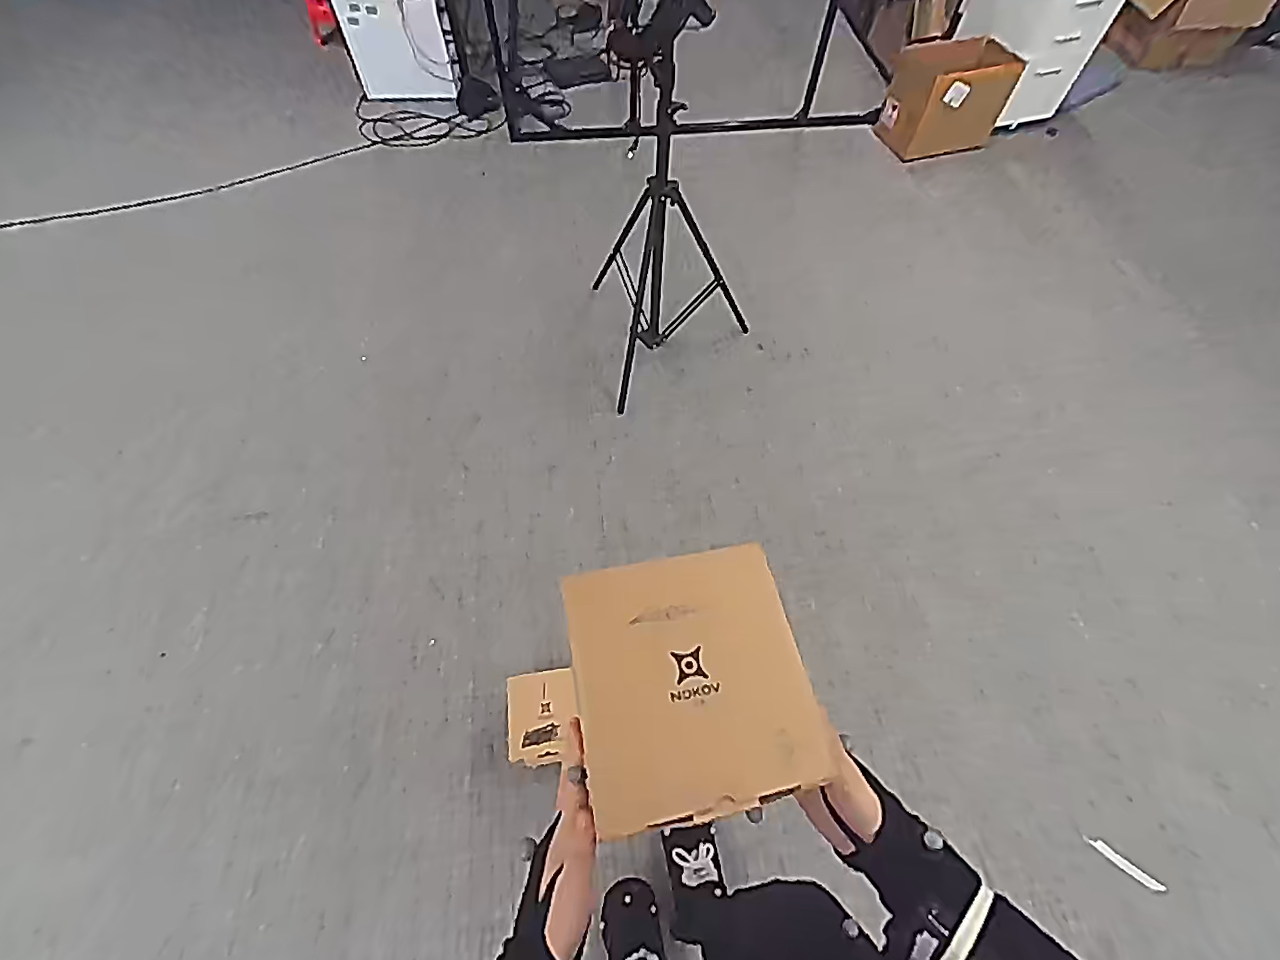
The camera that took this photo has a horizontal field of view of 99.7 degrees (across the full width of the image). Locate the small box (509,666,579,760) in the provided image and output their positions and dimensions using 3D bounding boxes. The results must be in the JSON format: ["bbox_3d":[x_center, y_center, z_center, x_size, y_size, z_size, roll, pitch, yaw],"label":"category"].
[{"bbox_3d":[-0.205,0.546,1.259,0.168,0.176,0.179,-7,60,-5],"label":"small box"}]

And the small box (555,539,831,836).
[{"bbox_3d":[0.026,0.174,0.454,0.168,0.176,0.179,-9,60,-11],"label":"small box"}]
